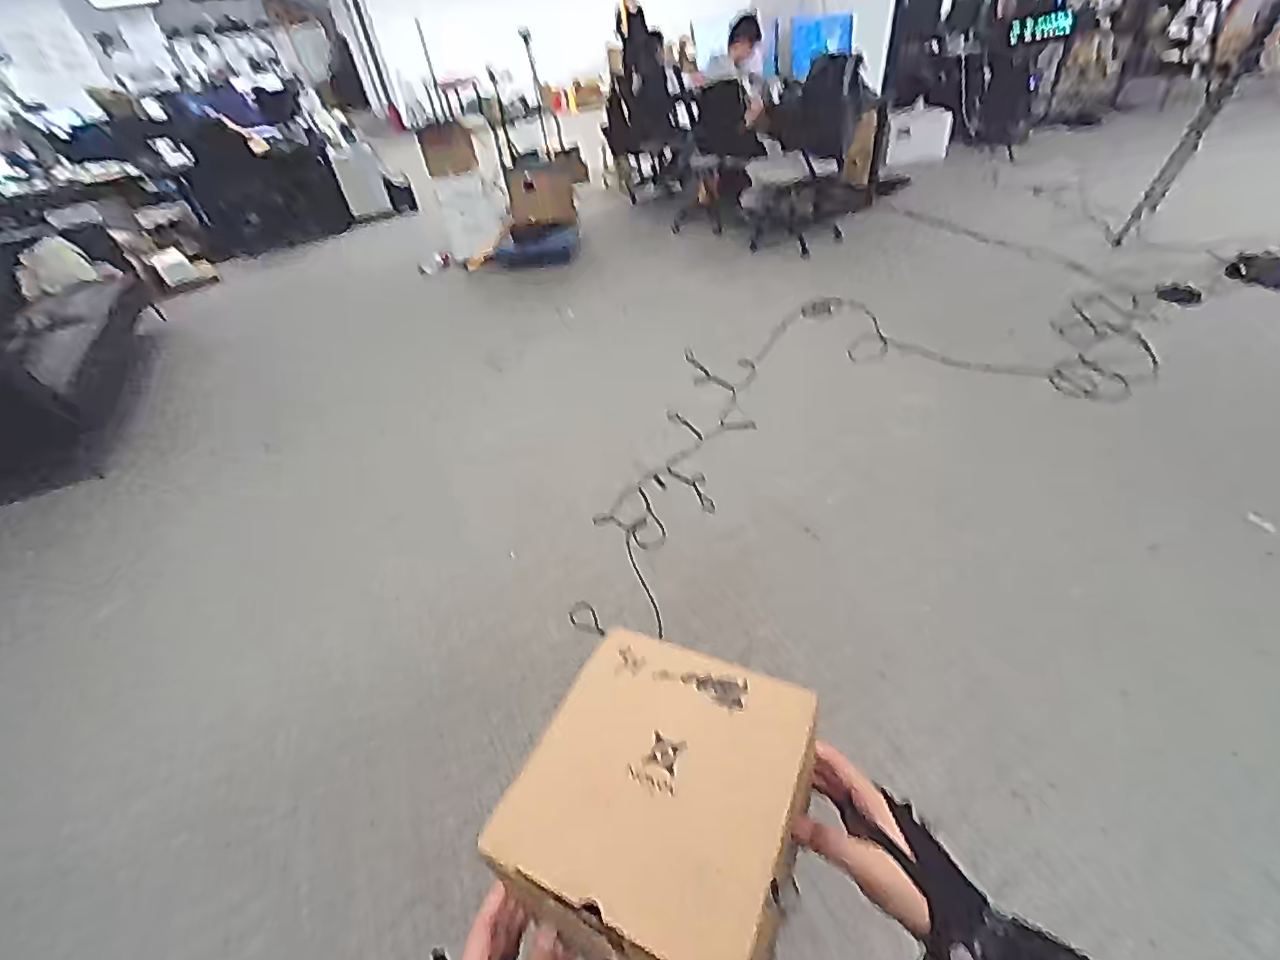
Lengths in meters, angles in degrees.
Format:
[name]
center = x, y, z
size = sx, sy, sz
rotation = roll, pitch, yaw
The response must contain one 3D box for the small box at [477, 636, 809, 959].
[small box]
center = 0.021, 0.255, 0.396
size = 0.168, 0.176, 0.179
rotation = 11, 41, 27
